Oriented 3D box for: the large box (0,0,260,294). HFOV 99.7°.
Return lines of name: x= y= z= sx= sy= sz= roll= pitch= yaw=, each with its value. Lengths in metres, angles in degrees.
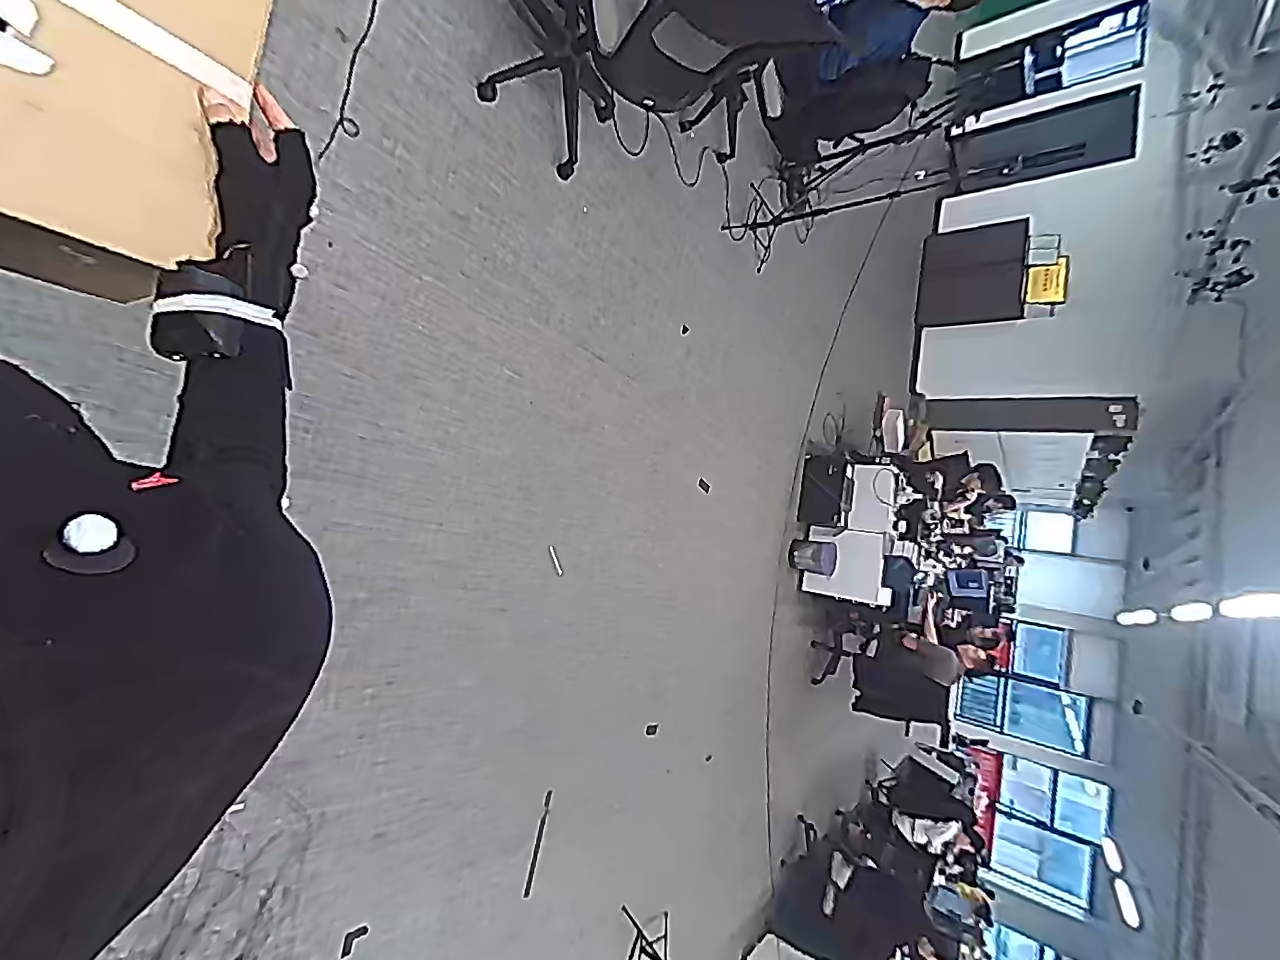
large box: x=-0.572 y=-0.363 z=0.382 sx=0.408 sy=0.320 sz=0.320 roll=13 pitch=89 yaw=-54
